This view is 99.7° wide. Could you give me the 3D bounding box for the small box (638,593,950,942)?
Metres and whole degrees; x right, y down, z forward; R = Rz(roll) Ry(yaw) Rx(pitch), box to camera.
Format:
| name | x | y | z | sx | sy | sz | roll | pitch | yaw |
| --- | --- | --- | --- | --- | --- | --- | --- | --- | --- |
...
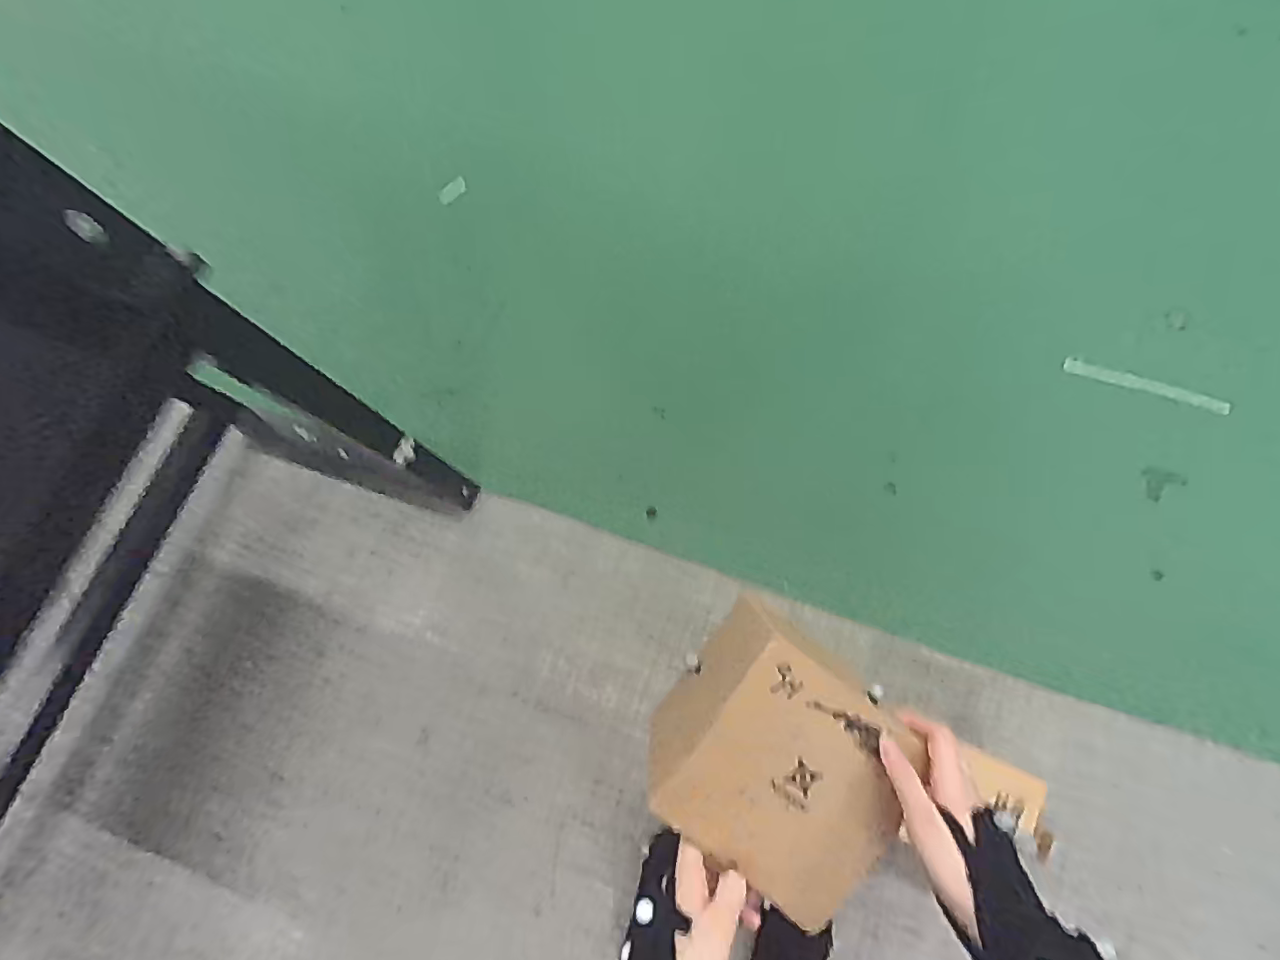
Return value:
| name | x | y | z | sx | sy | sz | roll | pitch | yaw |
| --- | --- | --- | --- | --- | --- | --- | --- | --- | --- |
| small box | 0.119 | 0.228 | 0.481 | 0.168 | 0.176 | 0.179 | 37 | 92 | 2 |
